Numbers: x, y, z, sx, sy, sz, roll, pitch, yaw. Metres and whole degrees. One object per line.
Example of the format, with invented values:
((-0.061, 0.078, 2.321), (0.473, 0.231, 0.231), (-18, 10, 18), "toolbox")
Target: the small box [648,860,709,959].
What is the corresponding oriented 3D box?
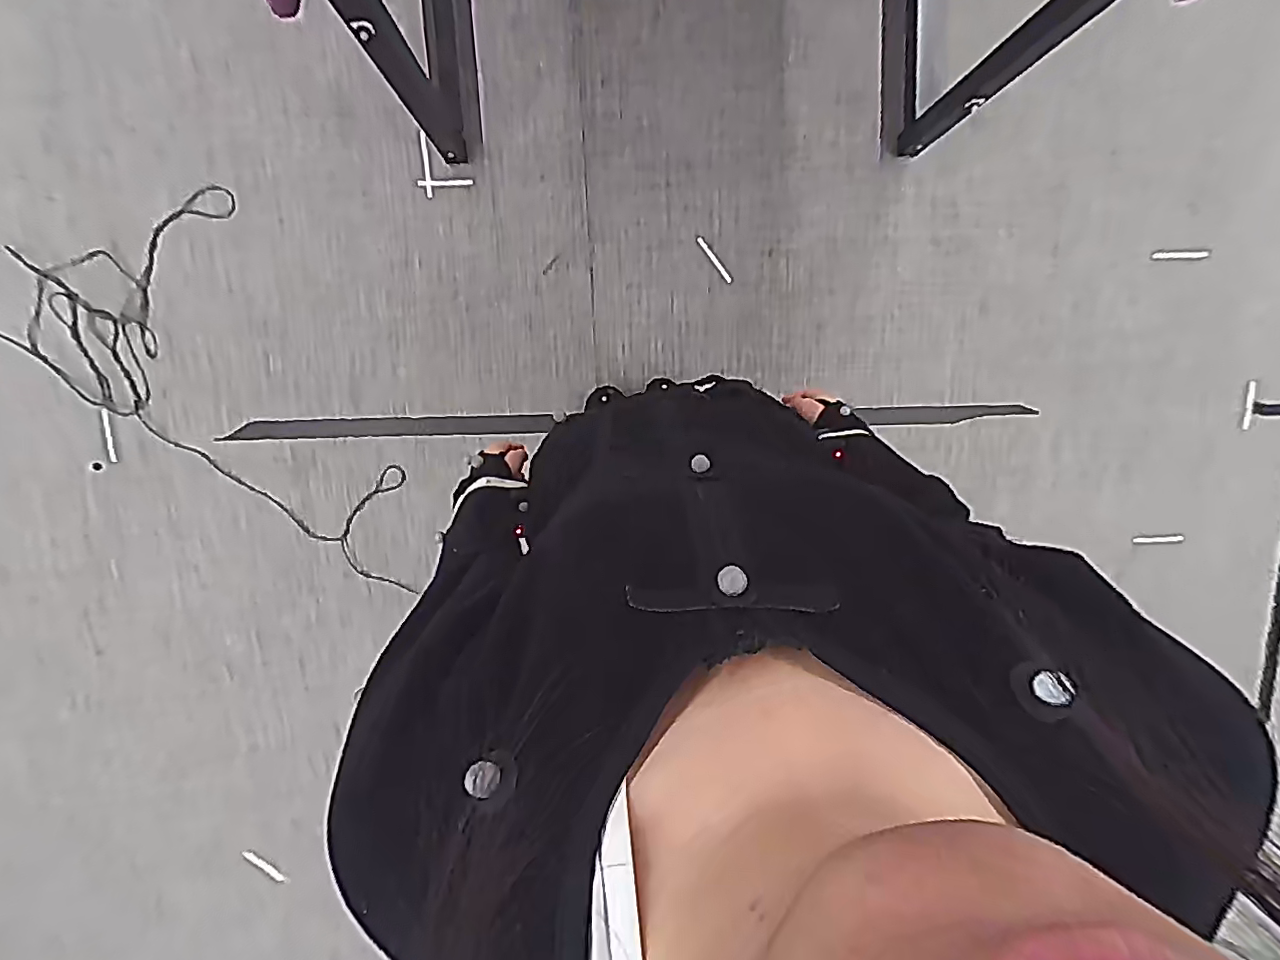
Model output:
((0.110, 1.283, 1.626), (0.168, 0.176, 0.179), (0, 100, -2), "small box")
